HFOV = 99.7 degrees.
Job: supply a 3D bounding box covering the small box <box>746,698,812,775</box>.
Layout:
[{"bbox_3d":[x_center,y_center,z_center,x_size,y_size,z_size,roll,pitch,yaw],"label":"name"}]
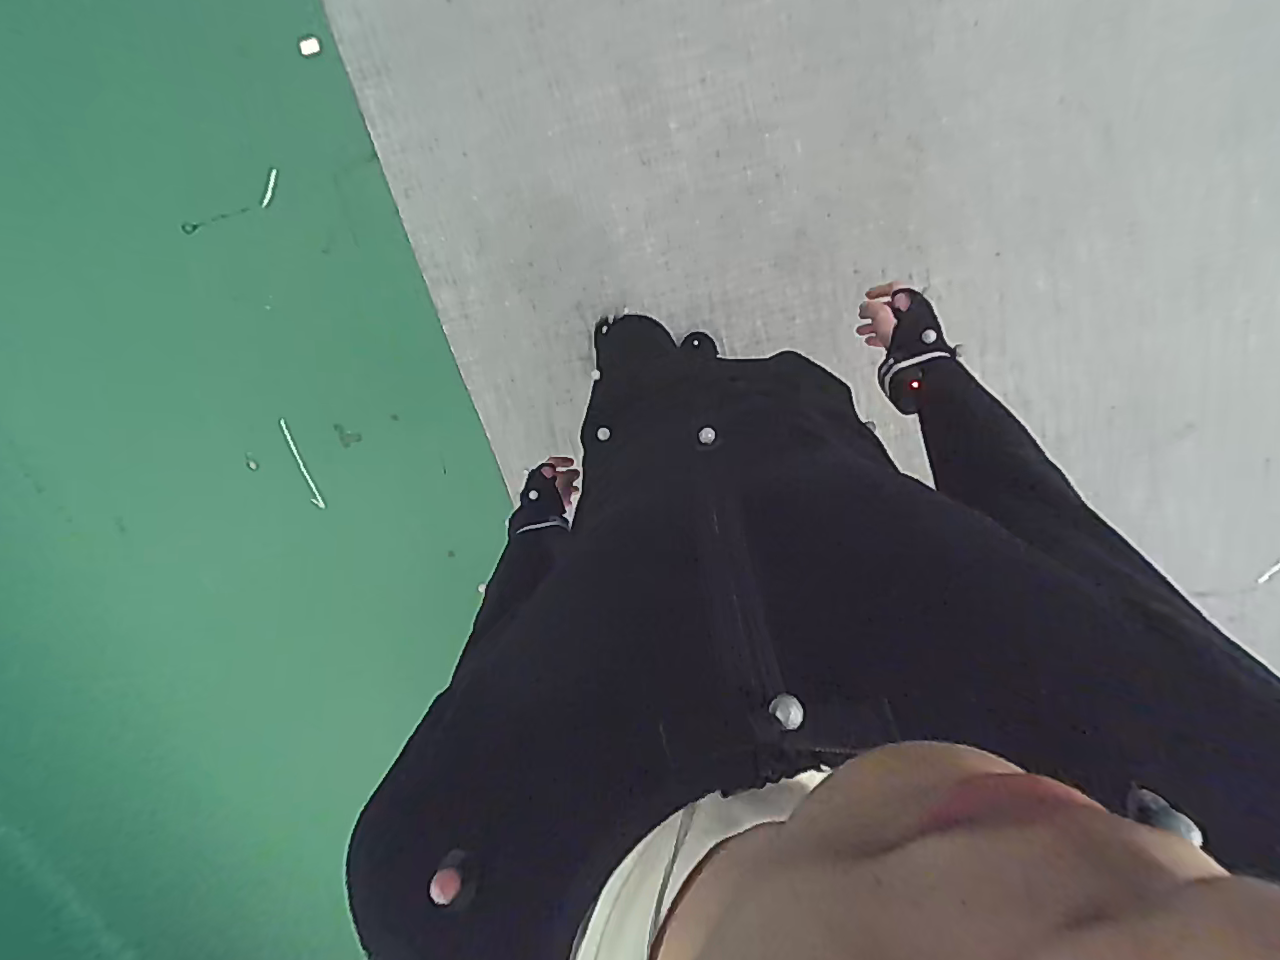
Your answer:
[{"bbox_3d":[0.419,0.762,1.653,0.168,0.176,0.179,-10,110,10],"label":"small box"}]
